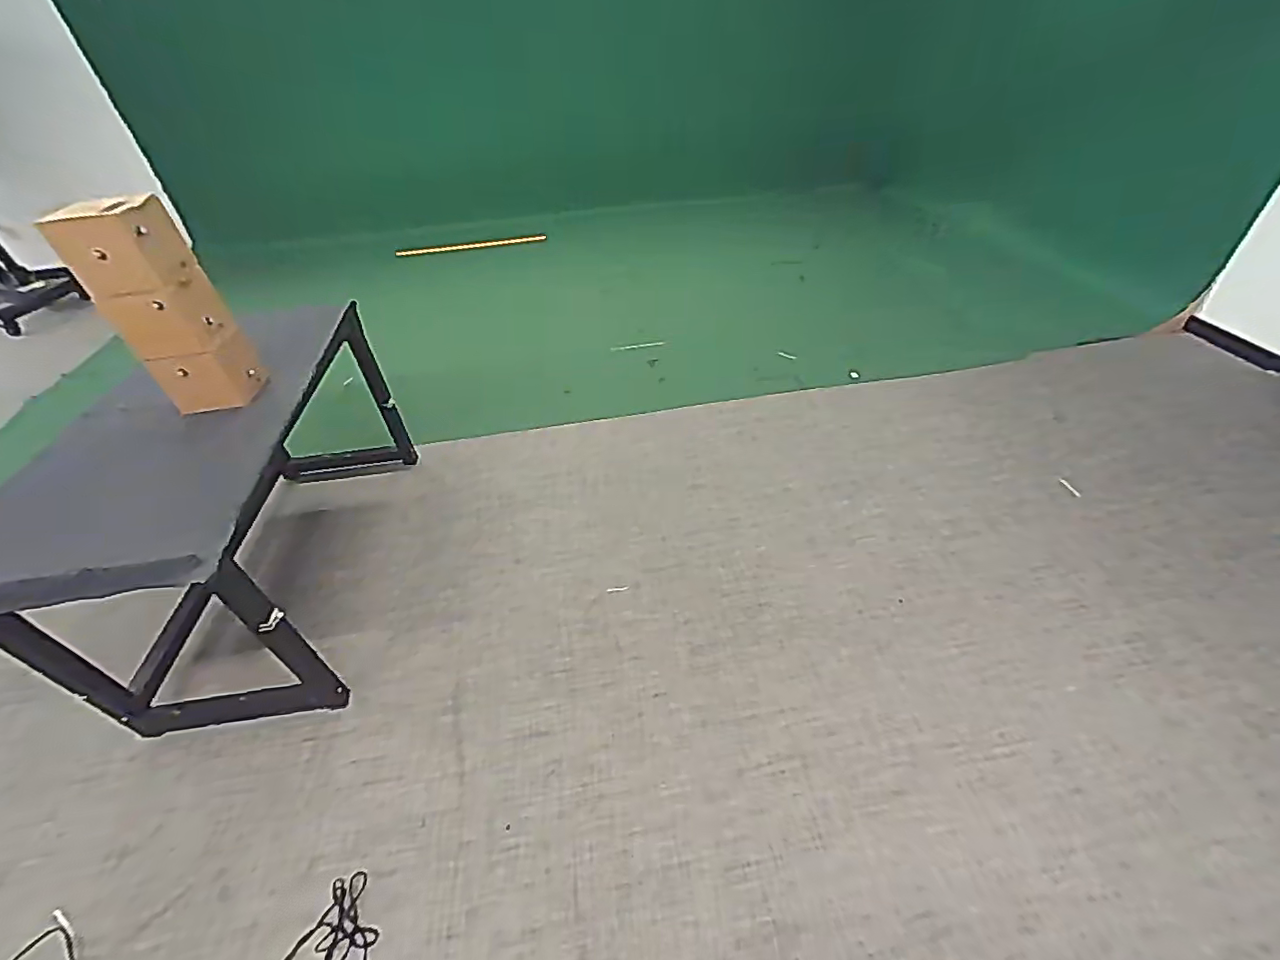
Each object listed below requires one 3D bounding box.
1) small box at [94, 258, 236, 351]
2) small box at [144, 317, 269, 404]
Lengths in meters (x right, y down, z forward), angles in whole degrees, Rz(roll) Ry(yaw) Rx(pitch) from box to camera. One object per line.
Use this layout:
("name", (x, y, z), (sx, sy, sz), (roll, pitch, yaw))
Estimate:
("small box", (-1.184, -0.440, 1.365), (0.179, 0.176, 0.168), (-8, 42, -3))
("small box", (-1.168, -0.322, 1.475), (0.179, 0.176, 0.168), (-7, 43, -3))
